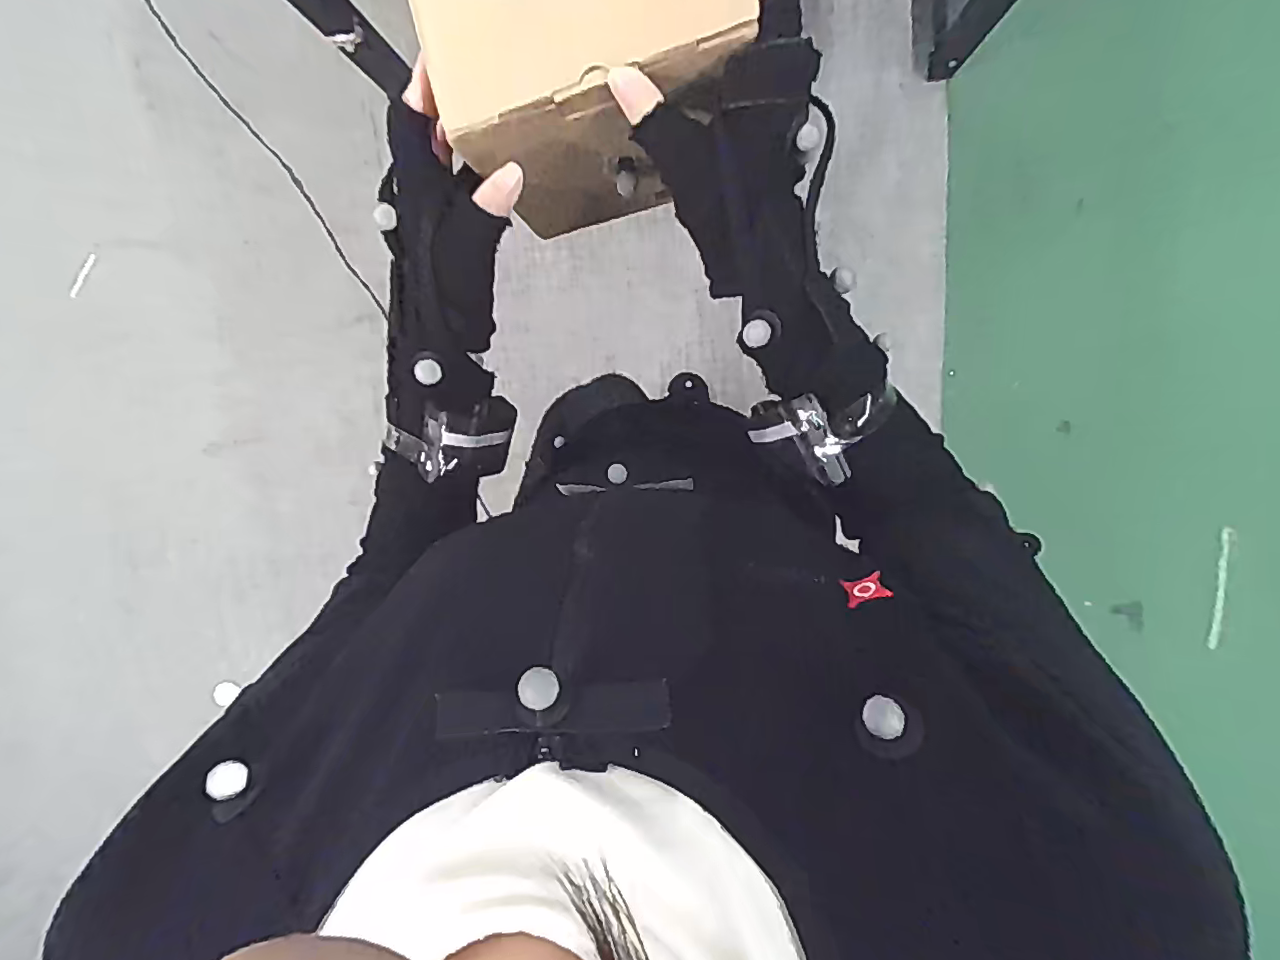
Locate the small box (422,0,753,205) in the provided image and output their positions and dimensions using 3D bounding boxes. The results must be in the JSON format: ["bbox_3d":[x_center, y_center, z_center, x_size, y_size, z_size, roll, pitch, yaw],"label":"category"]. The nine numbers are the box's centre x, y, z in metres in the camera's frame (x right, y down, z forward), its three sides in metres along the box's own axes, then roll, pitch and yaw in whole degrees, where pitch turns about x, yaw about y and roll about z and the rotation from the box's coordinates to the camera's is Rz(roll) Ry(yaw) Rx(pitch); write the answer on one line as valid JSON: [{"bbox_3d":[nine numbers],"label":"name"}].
[{"bbox_3d":[-0.028,-0.300,0.343,0.168,0.176,0.179,-12,96,9],"label":"small box"}]
